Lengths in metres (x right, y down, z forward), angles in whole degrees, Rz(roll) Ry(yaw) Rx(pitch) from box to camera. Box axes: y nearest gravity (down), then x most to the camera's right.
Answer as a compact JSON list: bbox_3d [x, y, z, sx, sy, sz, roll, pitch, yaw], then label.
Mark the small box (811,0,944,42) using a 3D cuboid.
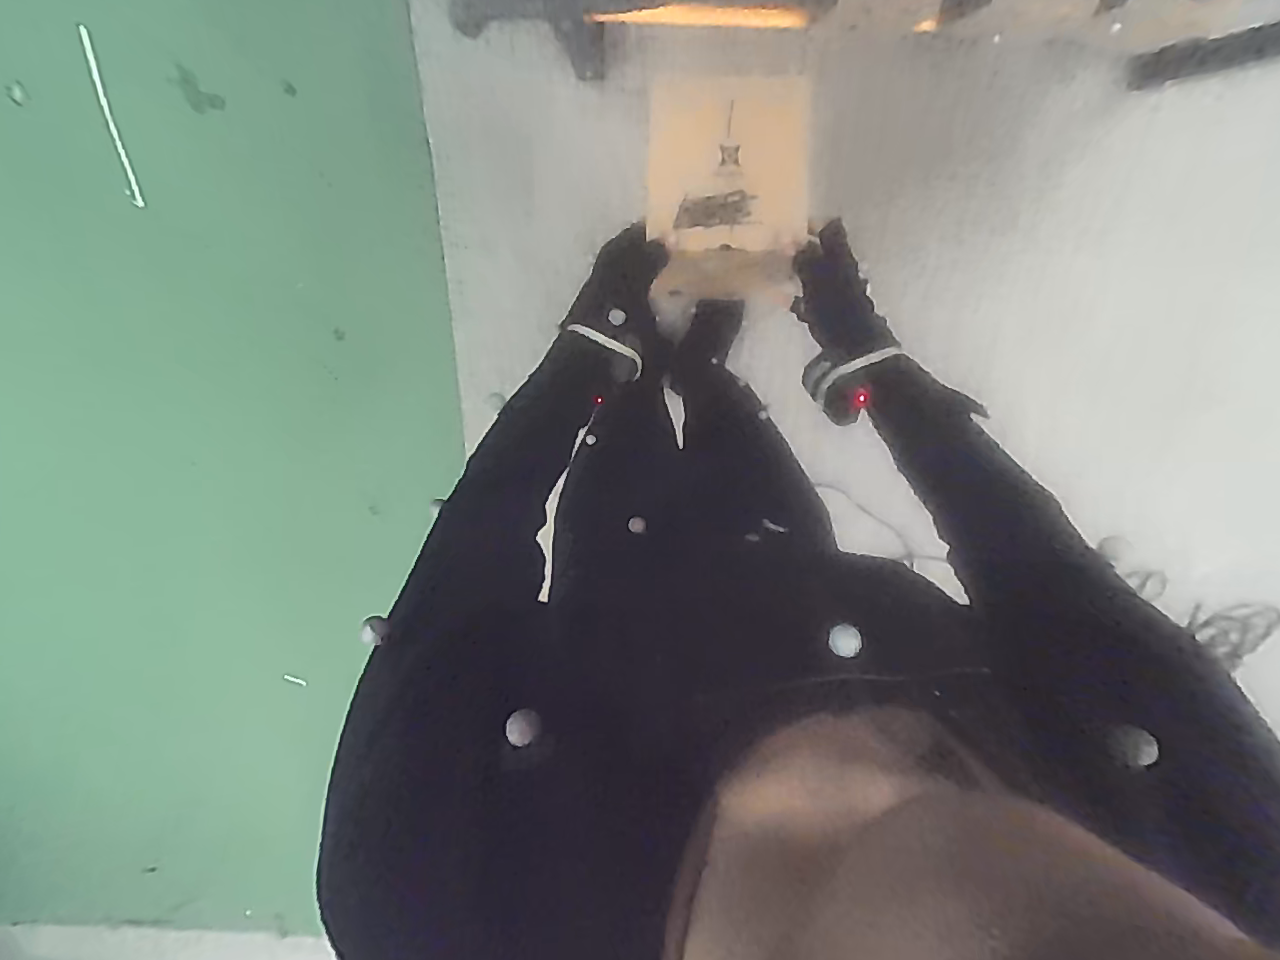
[{"bbox_3d":[0.388,-0.836,0.865,0.168,0.176,0.179,3,119,-1],"label":"small box"}]
